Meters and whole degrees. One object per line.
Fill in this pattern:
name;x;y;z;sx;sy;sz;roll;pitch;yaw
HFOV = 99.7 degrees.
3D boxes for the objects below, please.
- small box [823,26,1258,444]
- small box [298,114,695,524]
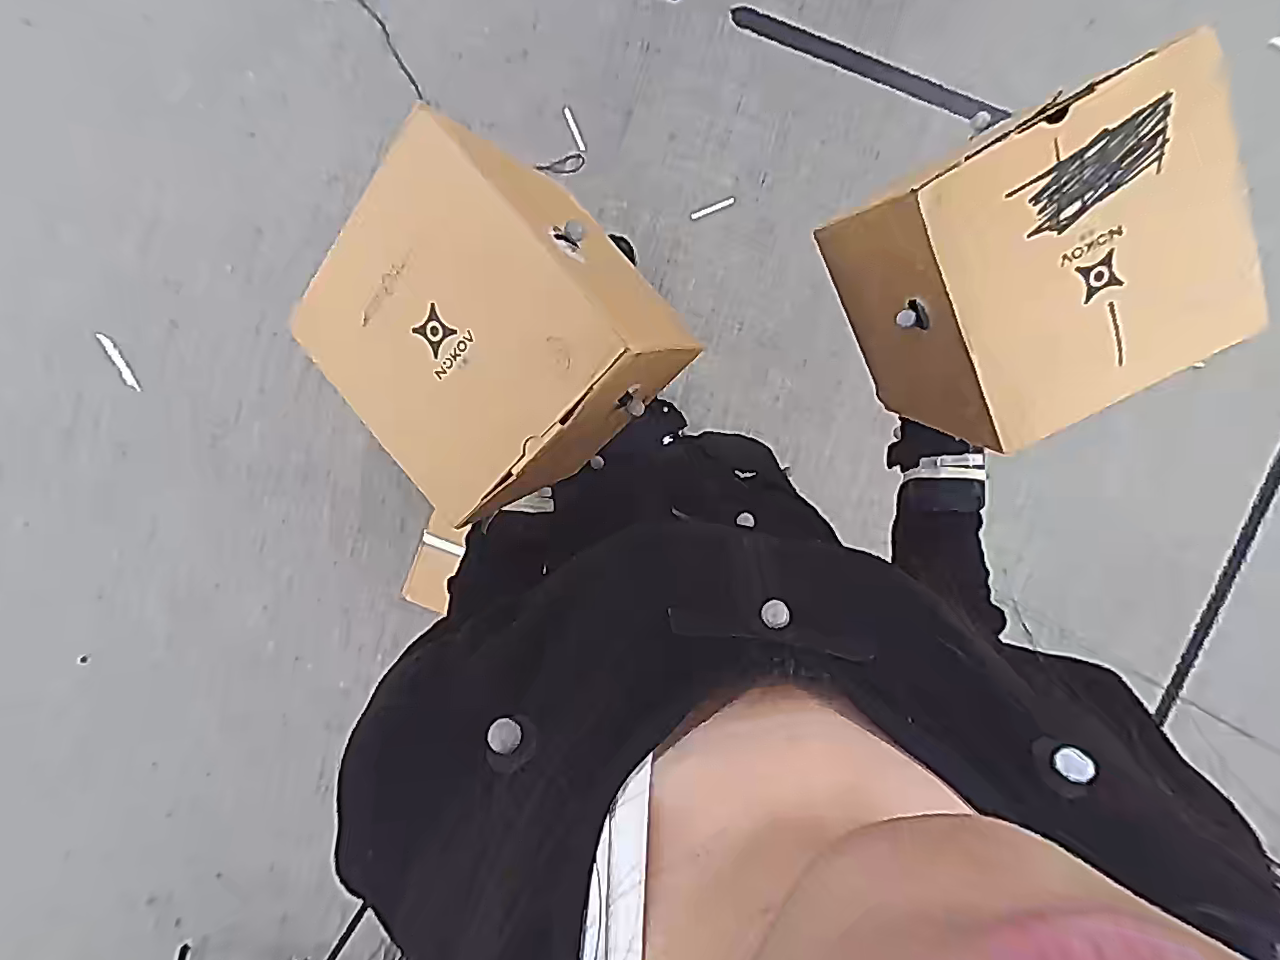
small box;0.259;-0.153;0.389;0.168;0.176;0.179;-28;107;7
small box;-0.085;-0.102;0.388;0.168;0.176;0.179;-42;87;23
